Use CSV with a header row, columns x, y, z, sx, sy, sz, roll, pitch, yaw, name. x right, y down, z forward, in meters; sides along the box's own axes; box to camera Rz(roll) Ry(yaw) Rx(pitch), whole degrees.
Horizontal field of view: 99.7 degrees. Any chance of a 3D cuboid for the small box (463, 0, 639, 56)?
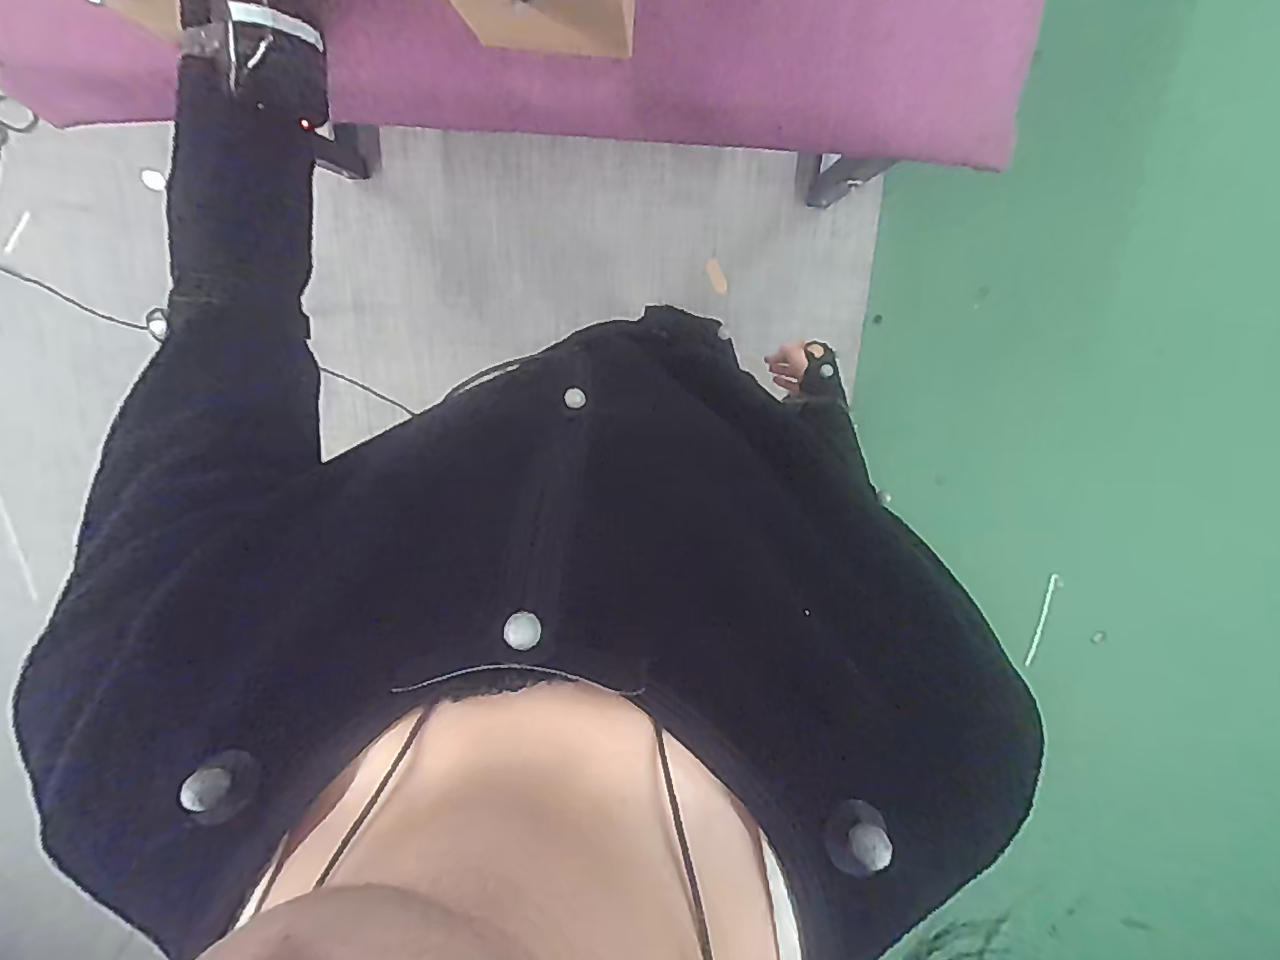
x,y,z,sx,sy,sz,roll,pitch,yaw,name
-0.088,-0.541,0.519,0.179,0.176,0.168,5,110,0,small box
